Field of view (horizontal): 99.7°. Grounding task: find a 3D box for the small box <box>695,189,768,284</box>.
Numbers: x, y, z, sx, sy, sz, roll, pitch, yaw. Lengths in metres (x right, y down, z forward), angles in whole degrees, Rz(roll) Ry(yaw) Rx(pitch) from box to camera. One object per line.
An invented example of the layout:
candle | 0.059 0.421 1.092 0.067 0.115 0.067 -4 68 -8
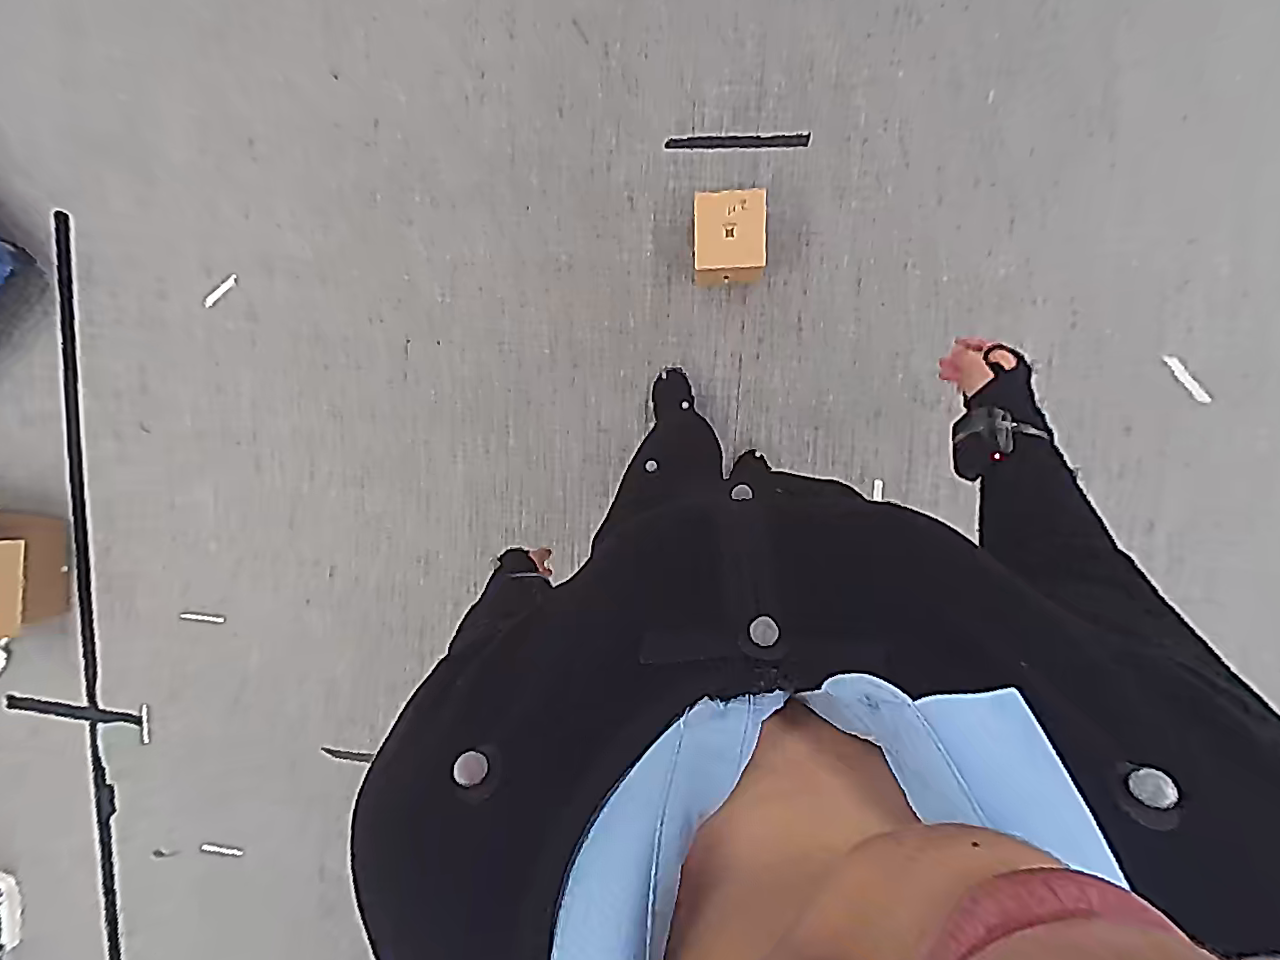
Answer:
small box | 0.220 -0.587 1.327 0.168 0.176 0.179 0 96 6
